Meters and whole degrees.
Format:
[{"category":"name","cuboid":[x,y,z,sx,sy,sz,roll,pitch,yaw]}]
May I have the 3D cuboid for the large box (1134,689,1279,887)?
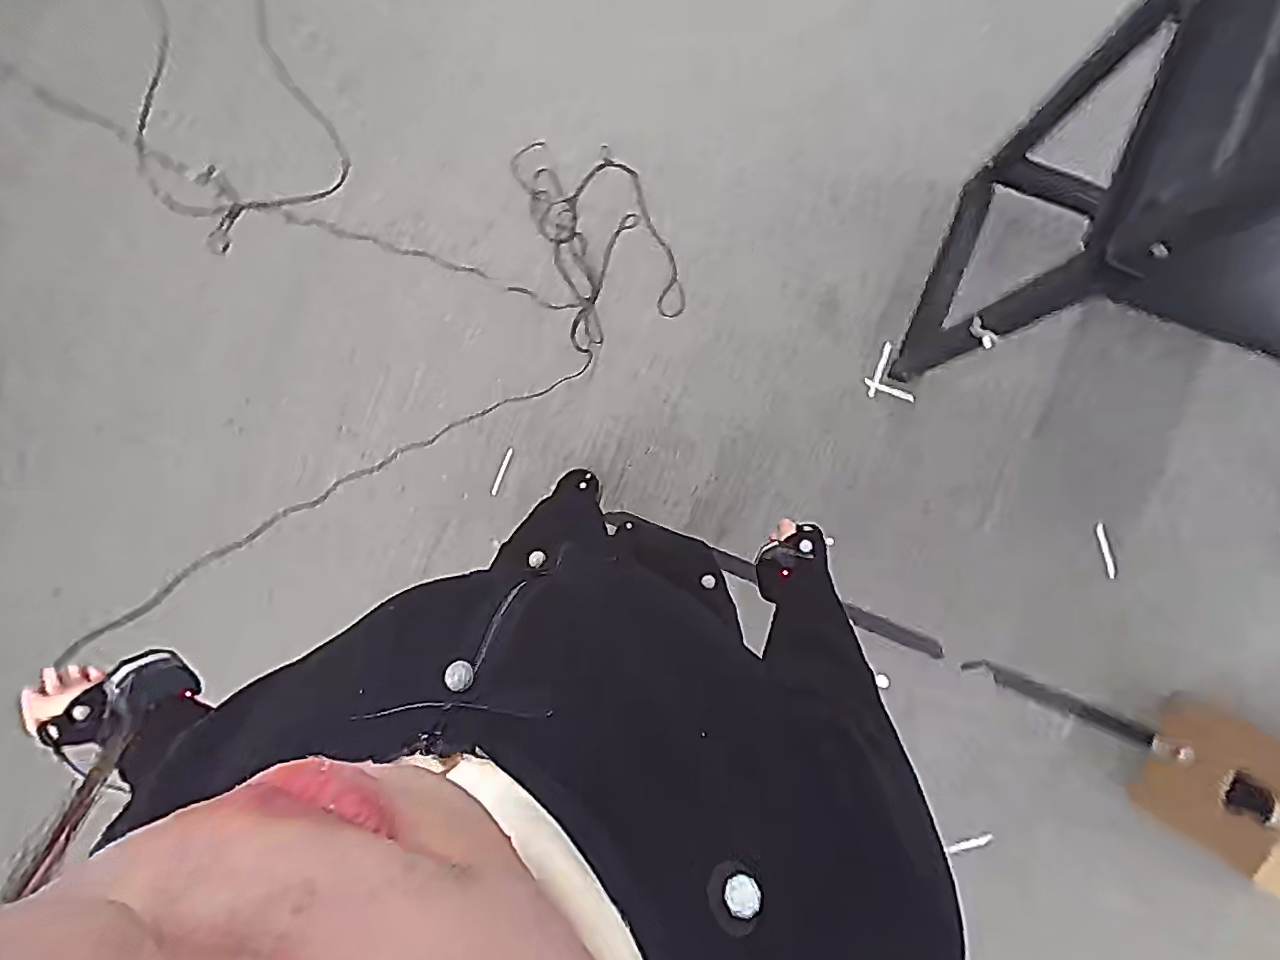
[{"category":"large box","cuboid":[1.508,0.746,1.249,0.408,0.320,0.320,23,92,3]}]
